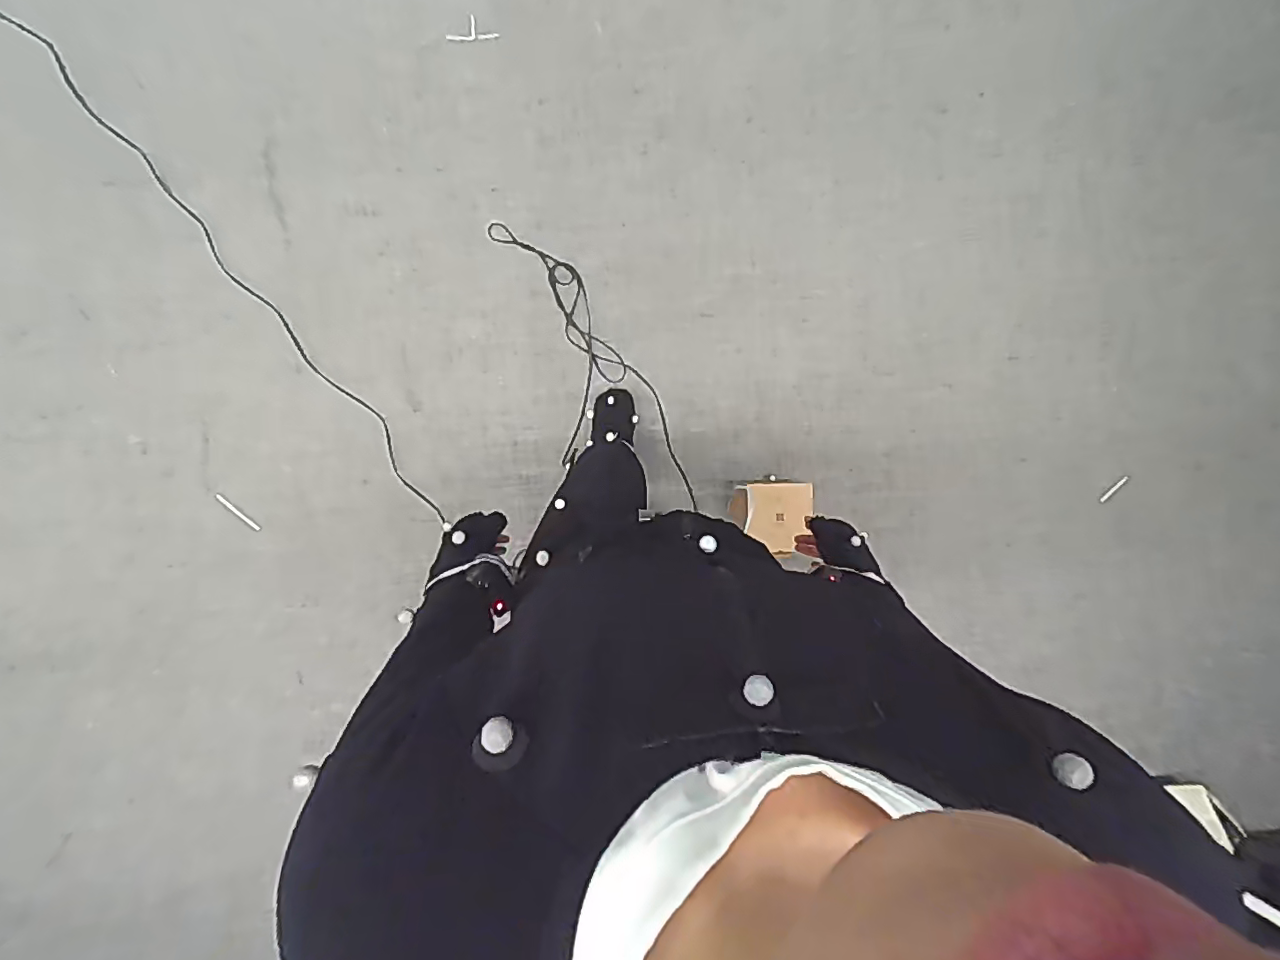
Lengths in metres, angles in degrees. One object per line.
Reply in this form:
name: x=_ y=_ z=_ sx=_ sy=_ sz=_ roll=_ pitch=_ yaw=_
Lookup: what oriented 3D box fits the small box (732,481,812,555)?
small box: x=0.340 y=0.093 z=1.413 sx=0.168 sy=0.176 sz=0.179 roll=-1 pitch=92 yaw=-3
